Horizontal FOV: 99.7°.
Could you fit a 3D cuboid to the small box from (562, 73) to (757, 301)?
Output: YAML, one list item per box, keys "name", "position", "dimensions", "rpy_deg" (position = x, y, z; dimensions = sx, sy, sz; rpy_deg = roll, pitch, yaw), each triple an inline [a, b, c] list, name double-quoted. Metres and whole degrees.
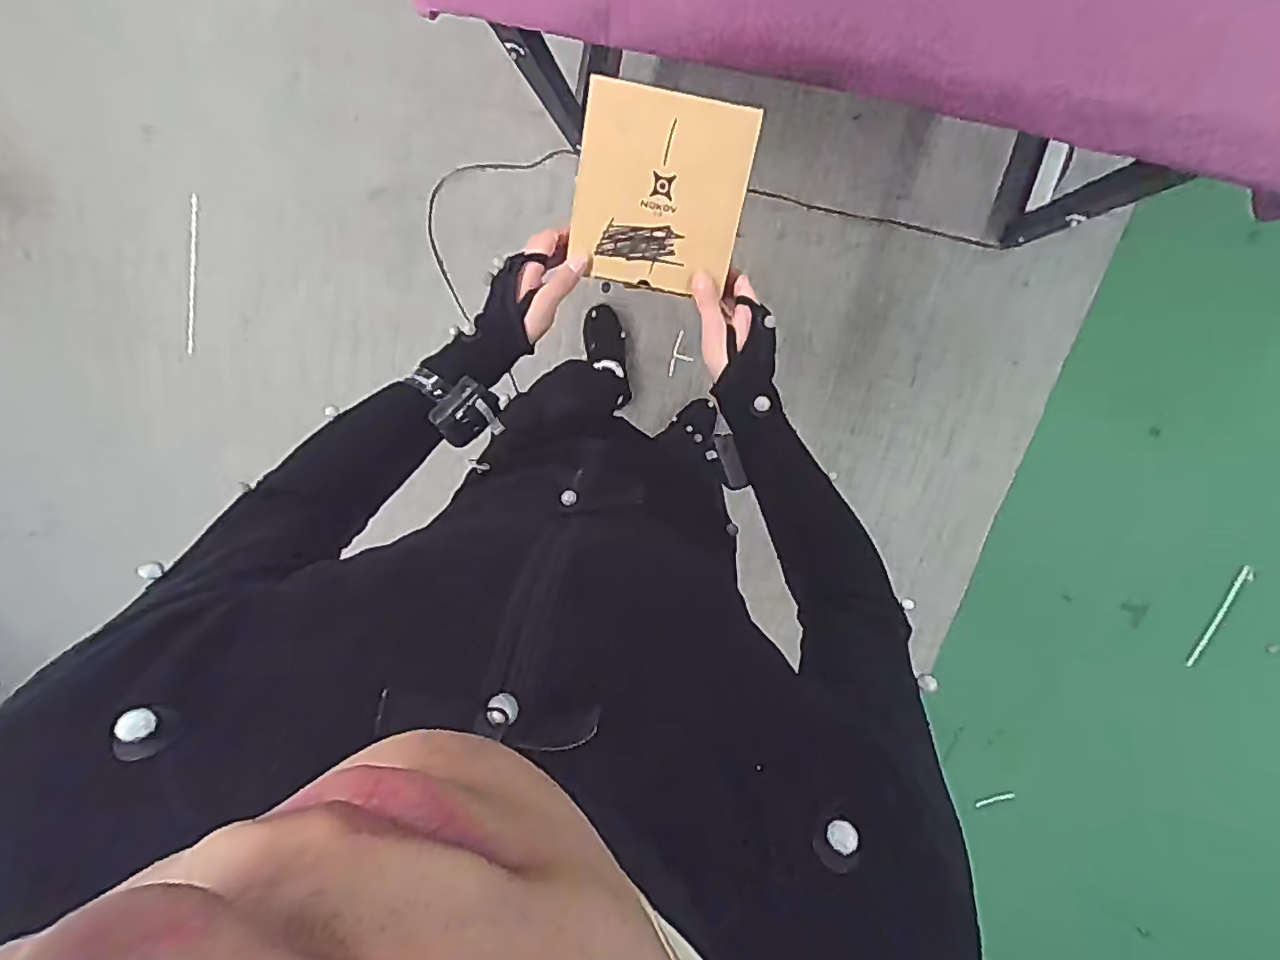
- name: "small box"
  position: [0.018, -0.305, 0.601]
  dimensions: [0.168, 0.176, 0.179]
  rpy_deg: [10, 109, -2]
